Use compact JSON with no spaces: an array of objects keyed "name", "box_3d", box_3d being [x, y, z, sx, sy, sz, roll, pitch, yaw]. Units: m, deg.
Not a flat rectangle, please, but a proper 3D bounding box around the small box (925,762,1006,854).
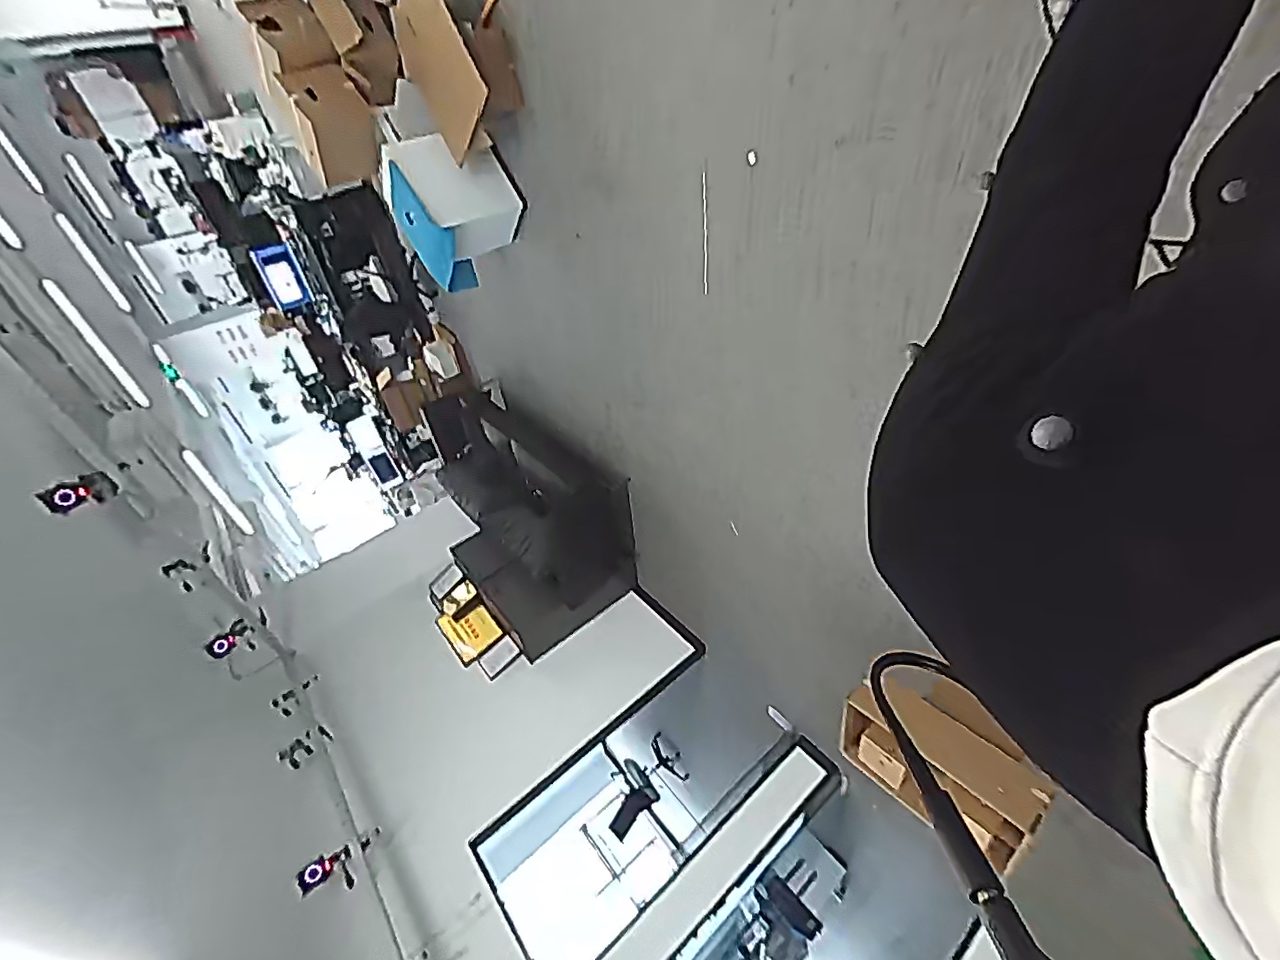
[{"name":"small box","box_3d":[1.089,1.089,1.807,0.168,0.176,0.179,30,143,42]}]
